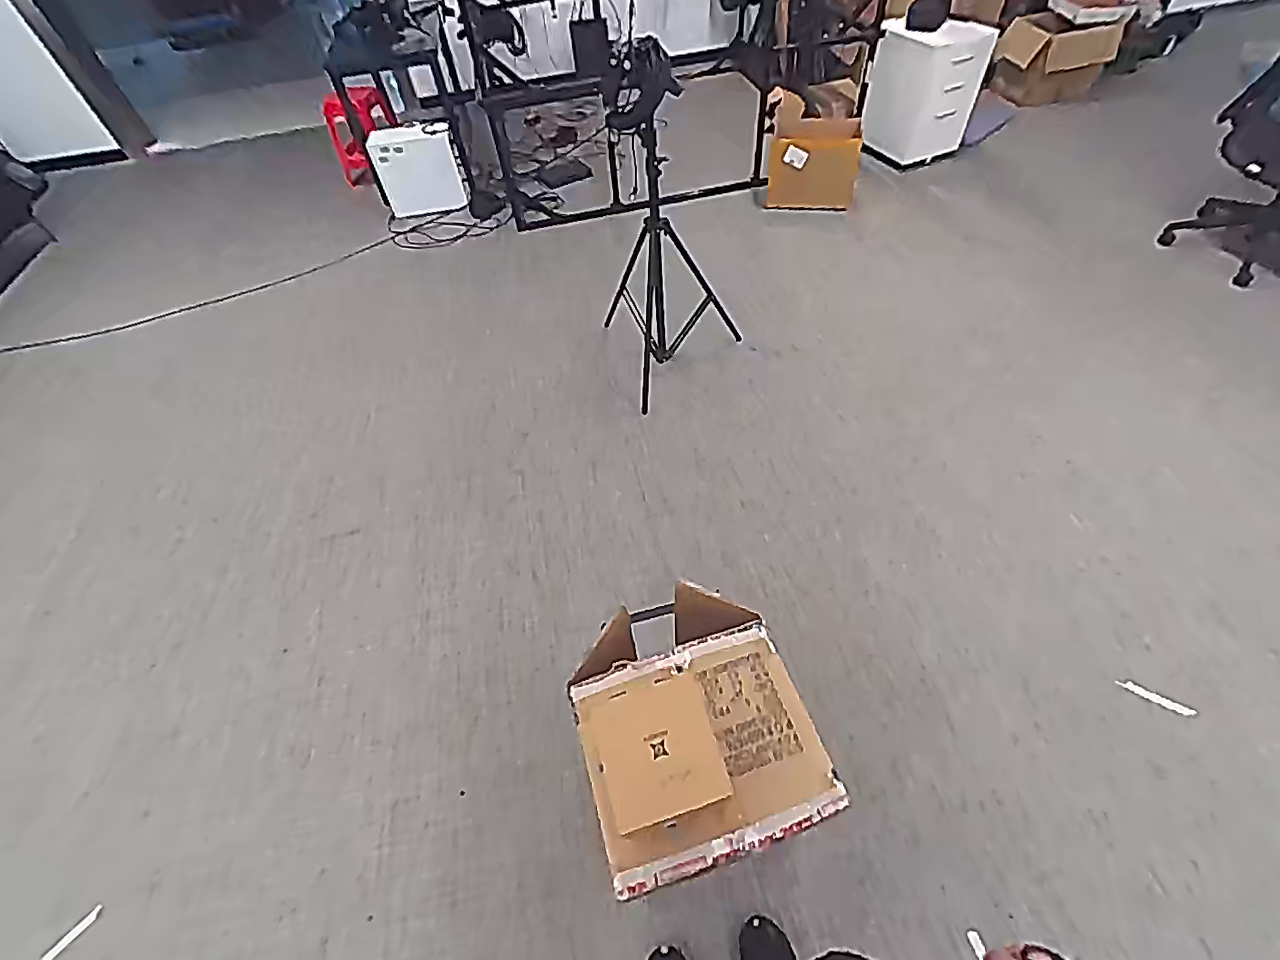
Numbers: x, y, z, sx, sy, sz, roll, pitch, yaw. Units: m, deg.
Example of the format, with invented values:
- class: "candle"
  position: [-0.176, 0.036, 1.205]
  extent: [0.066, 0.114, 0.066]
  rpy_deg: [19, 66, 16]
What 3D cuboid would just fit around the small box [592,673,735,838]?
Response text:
- class: "small box"
  position: [0.033, 0.428, 0.833]
  extent: [0.168, 0.176, 0.179]
  rpy_deg: [-17, 56, -6]
